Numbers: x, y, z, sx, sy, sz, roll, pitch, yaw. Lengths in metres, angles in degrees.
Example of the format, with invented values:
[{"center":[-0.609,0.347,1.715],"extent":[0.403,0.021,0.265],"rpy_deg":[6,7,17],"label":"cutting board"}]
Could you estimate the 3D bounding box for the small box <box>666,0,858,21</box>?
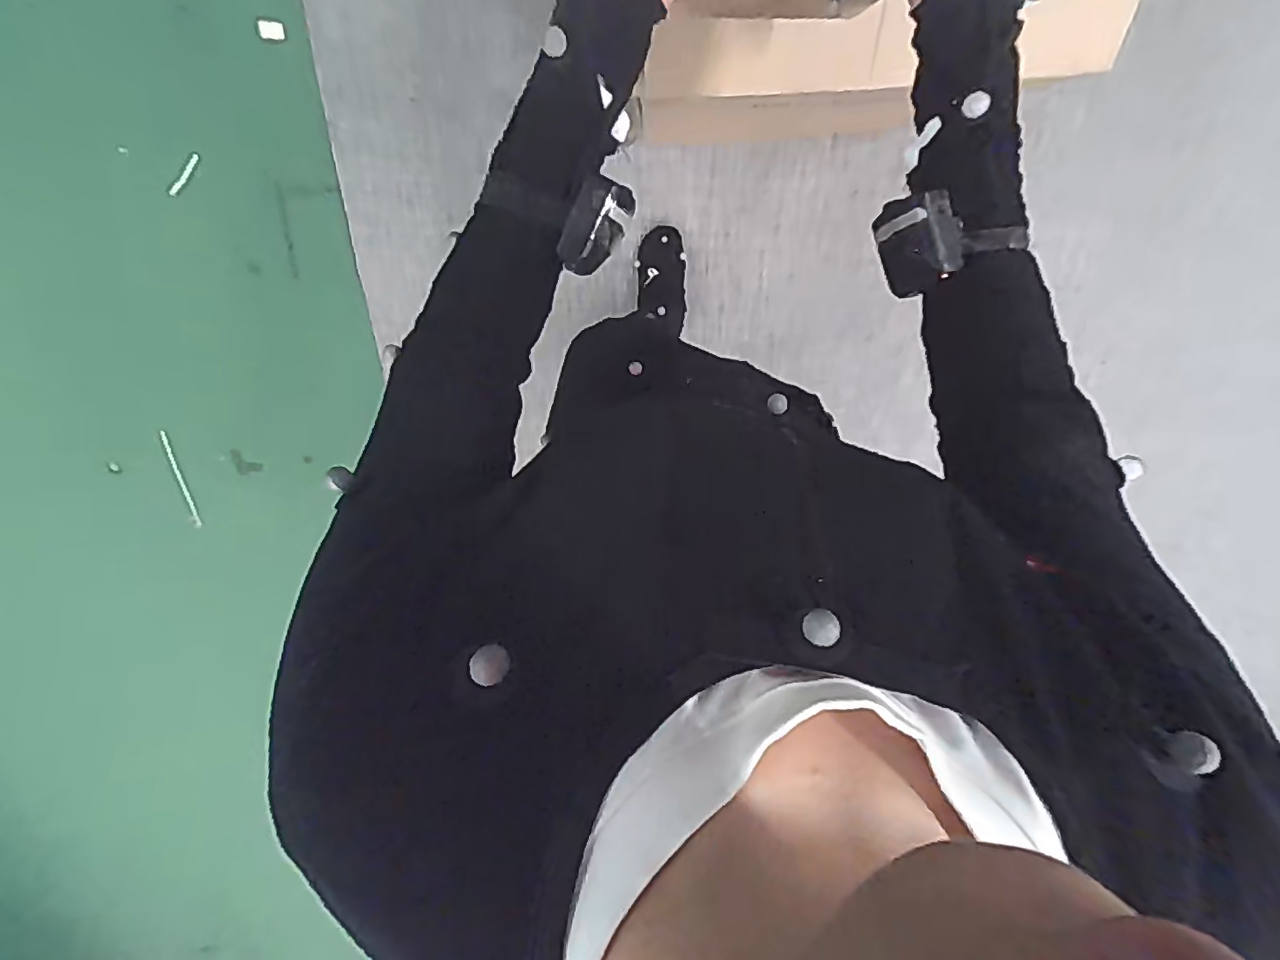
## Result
[{"center":[0.110,-0.466,0.400],"extent":[0.179,0.176,0.168],"rpy_deg":[0,119,1],"label":"small box"}]
